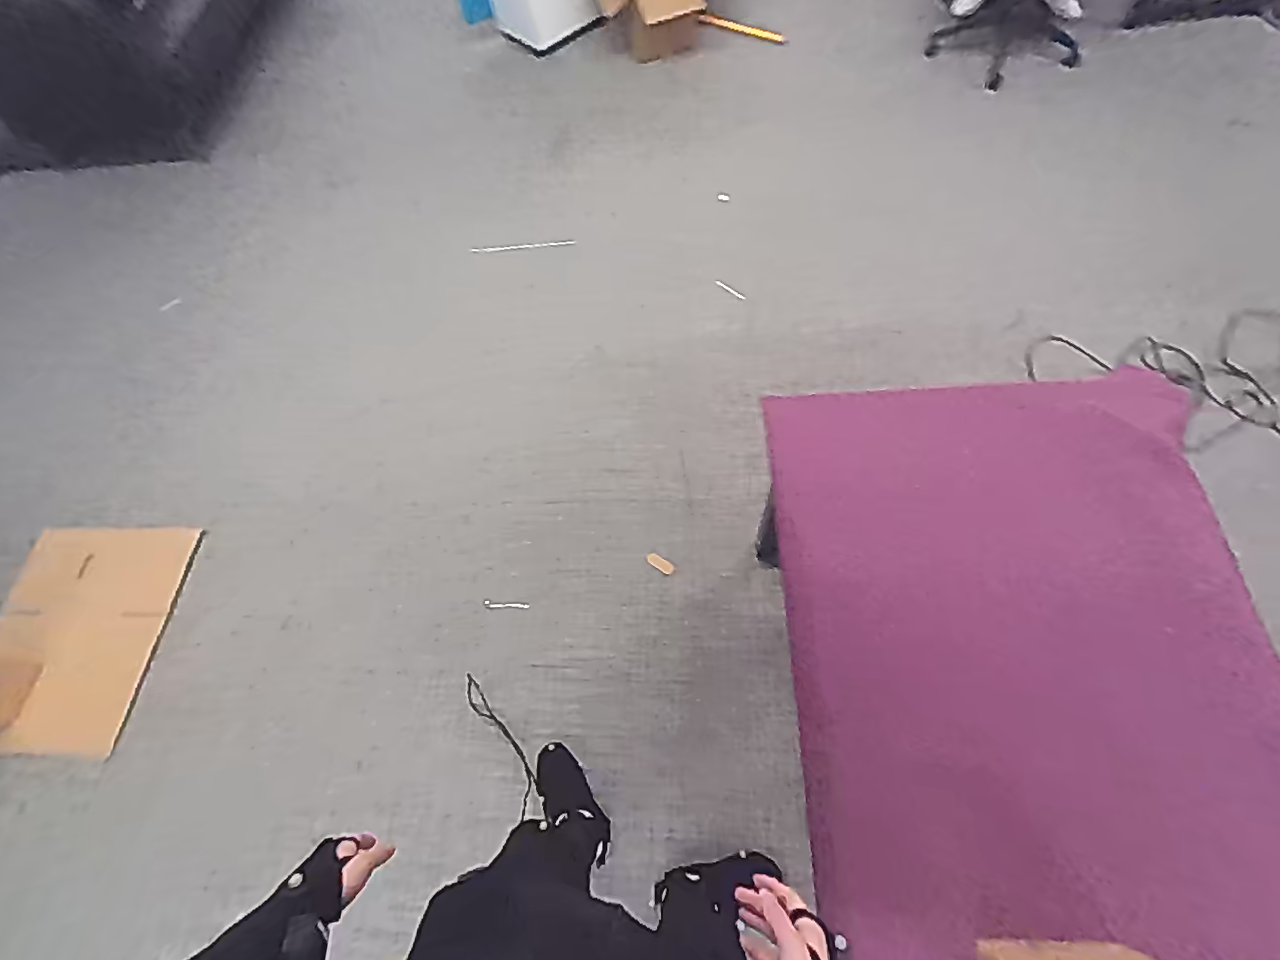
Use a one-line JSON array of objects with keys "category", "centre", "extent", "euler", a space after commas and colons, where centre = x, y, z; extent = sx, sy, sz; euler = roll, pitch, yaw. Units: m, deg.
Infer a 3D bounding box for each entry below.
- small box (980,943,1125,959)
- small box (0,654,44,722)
[{"category": "small box", "centre": [0.463, 0.582, 0.513], "extent": [0.168, 0.176, 0.179], "euler": [-2, 64, 5]}, {"category": "small box", "centre": [-1.915, 0.597, 1.567], "extent": [0.168, 0.176, 0.179], "euler": [1, 64, 7]}]
